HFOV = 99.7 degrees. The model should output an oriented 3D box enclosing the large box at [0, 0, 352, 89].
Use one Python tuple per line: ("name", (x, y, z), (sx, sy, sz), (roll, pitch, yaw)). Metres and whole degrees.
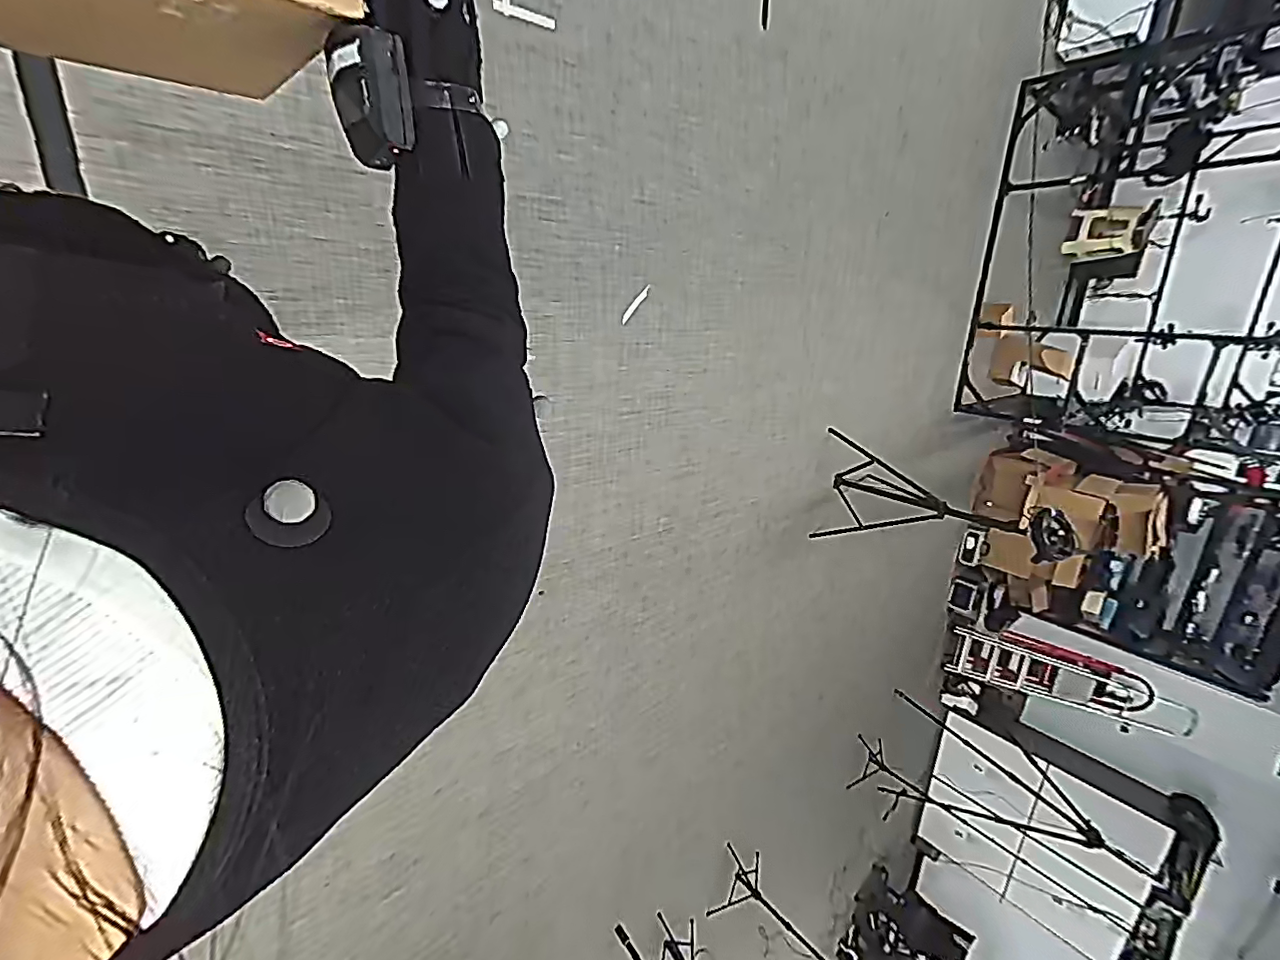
("large box", (-0.405, -0.418, 0.235), (0.408, 0.320, 0.320), (-16, 121, -39))
